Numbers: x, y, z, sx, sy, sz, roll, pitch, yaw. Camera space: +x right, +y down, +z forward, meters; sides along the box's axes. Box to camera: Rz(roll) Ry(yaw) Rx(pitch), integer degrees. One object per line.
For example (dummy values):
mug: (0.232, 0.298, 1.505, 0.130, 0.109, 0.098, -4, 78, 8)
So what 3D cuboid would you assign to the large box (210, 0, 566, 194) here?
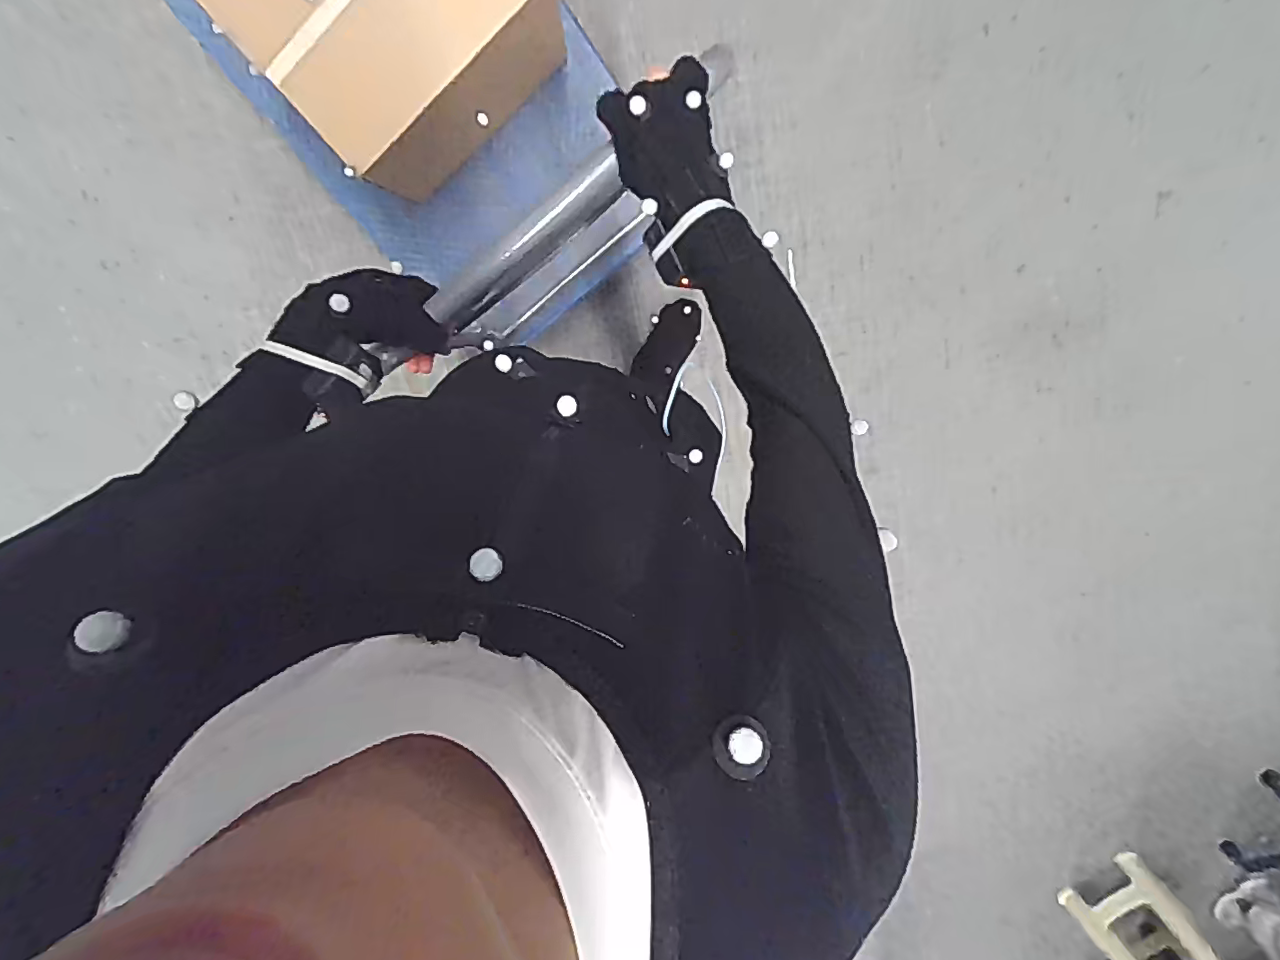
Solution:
large box: (-0.372, -0.756, 0.886, 0.408, 0.320, 0.320, -40, 108, 11)
